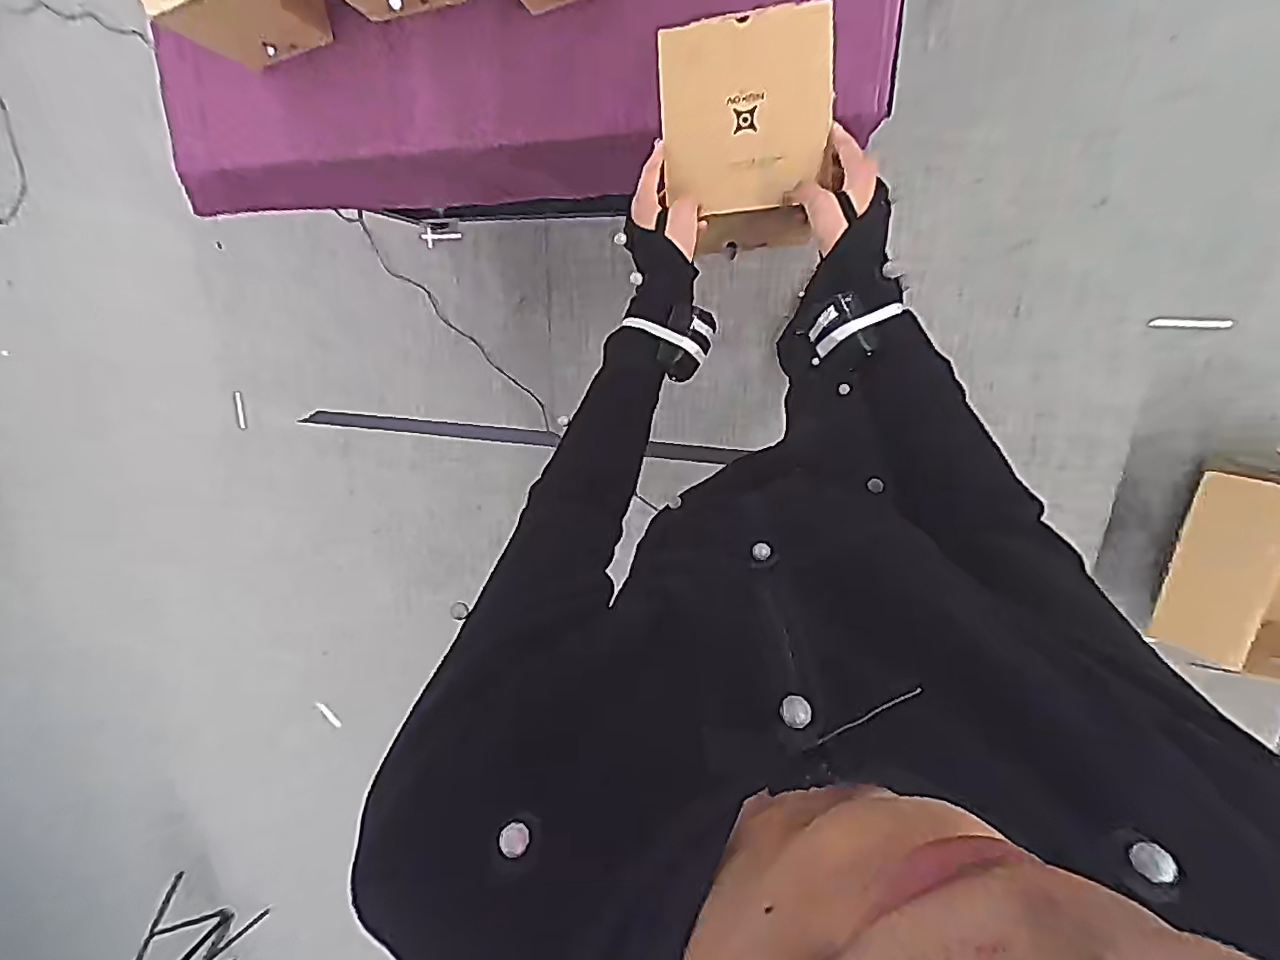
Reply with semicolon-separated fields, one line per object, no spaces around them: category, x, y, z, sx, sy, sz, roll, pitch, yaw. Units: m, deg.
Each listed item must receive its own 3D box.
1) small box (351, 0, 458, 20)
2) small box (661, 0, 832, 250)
small box;-0.356;-0.758;0.706;0.168;0.176;0.179;1;106;15
small box;0.116;-0.379;0.607;0.168;0.176;0.179;-1;98;11
